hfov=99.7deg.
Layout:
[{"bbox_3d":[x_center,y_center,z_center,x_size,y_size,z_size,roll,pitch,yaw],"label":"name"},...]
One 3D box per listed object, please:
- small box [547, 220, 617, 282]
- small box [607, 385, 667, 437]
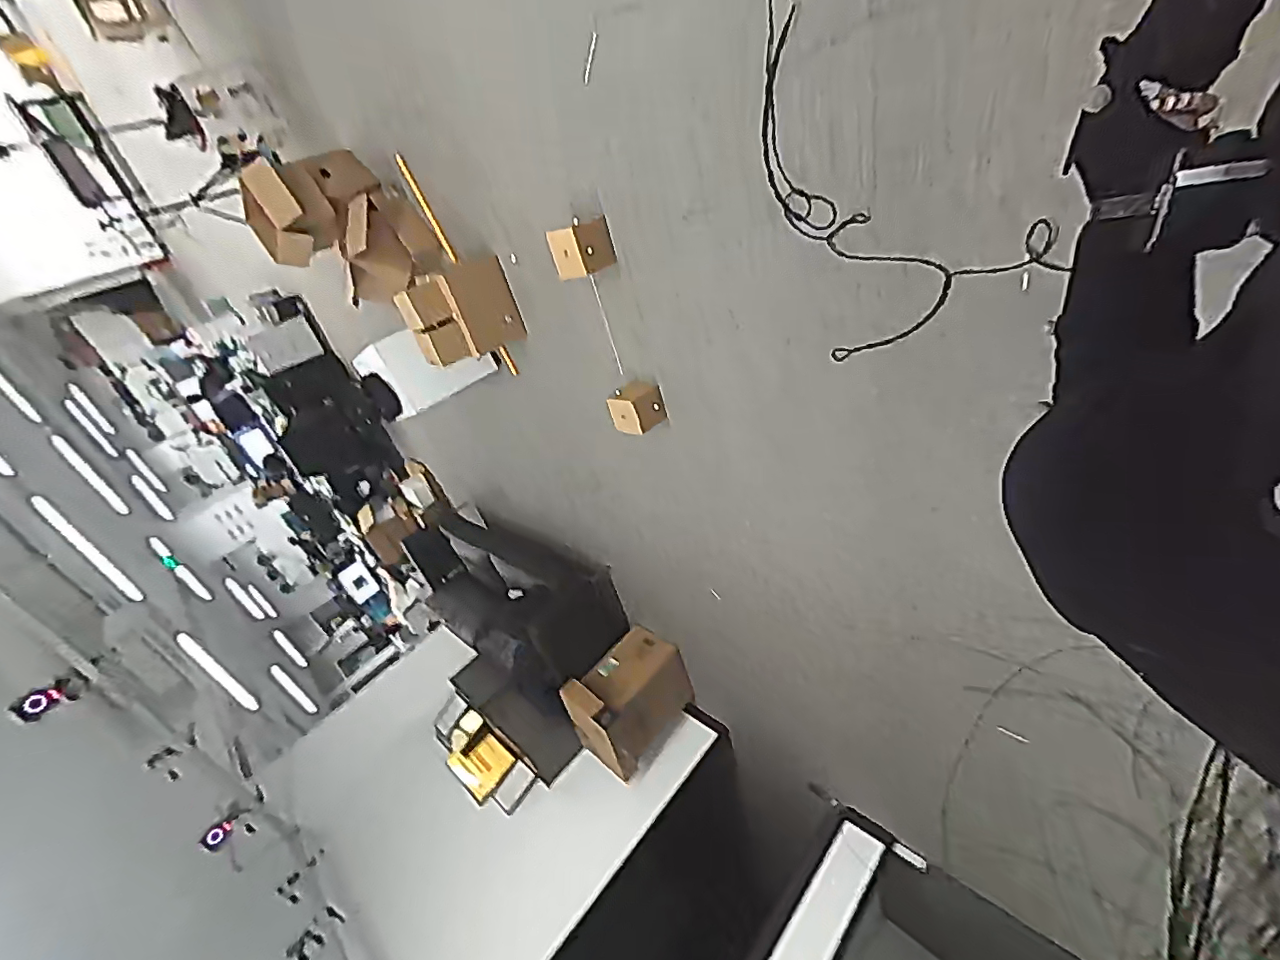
[{"bbox_3d":[-0.218,-0.874,2.057,0.168,0.176,0.179,14,134,44],"label":"small box"},{"bbox_3d":[-0.011,-0.309,2.385,0.179,0.176,0.168,14,134,44],"label":"small box"}]
